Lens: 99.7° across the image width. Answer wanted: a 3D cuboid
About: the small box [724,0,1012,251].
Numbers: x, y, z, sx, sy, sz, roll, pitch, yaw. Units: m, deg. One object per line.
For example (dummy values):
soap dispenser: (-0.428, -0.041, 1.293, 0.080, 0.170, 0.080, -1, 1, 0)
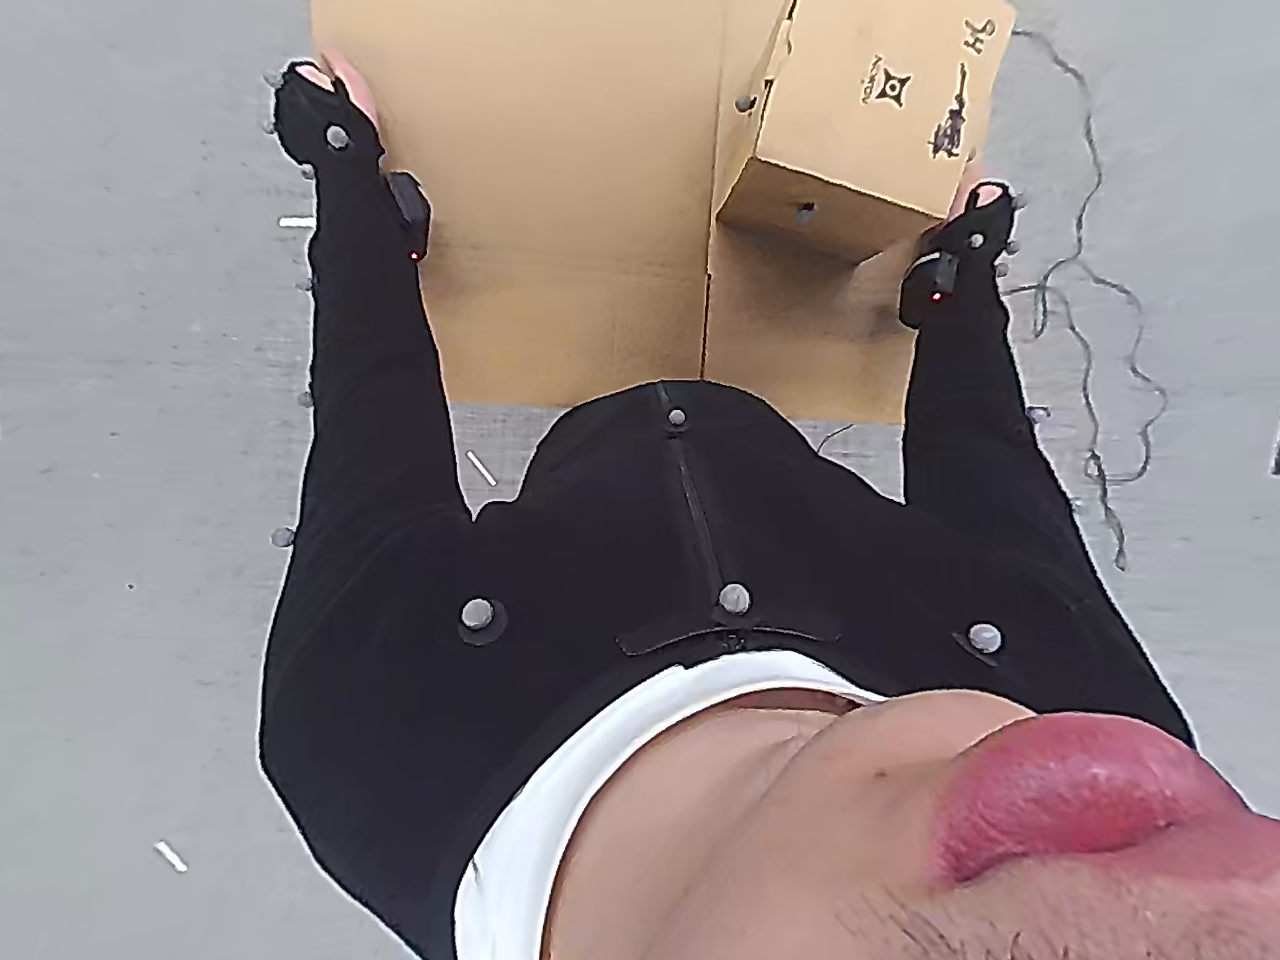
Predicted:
small box: (0.193, -0.338, 0.518, 0.179, 0.176, 0.168, 15, 99, -4)
